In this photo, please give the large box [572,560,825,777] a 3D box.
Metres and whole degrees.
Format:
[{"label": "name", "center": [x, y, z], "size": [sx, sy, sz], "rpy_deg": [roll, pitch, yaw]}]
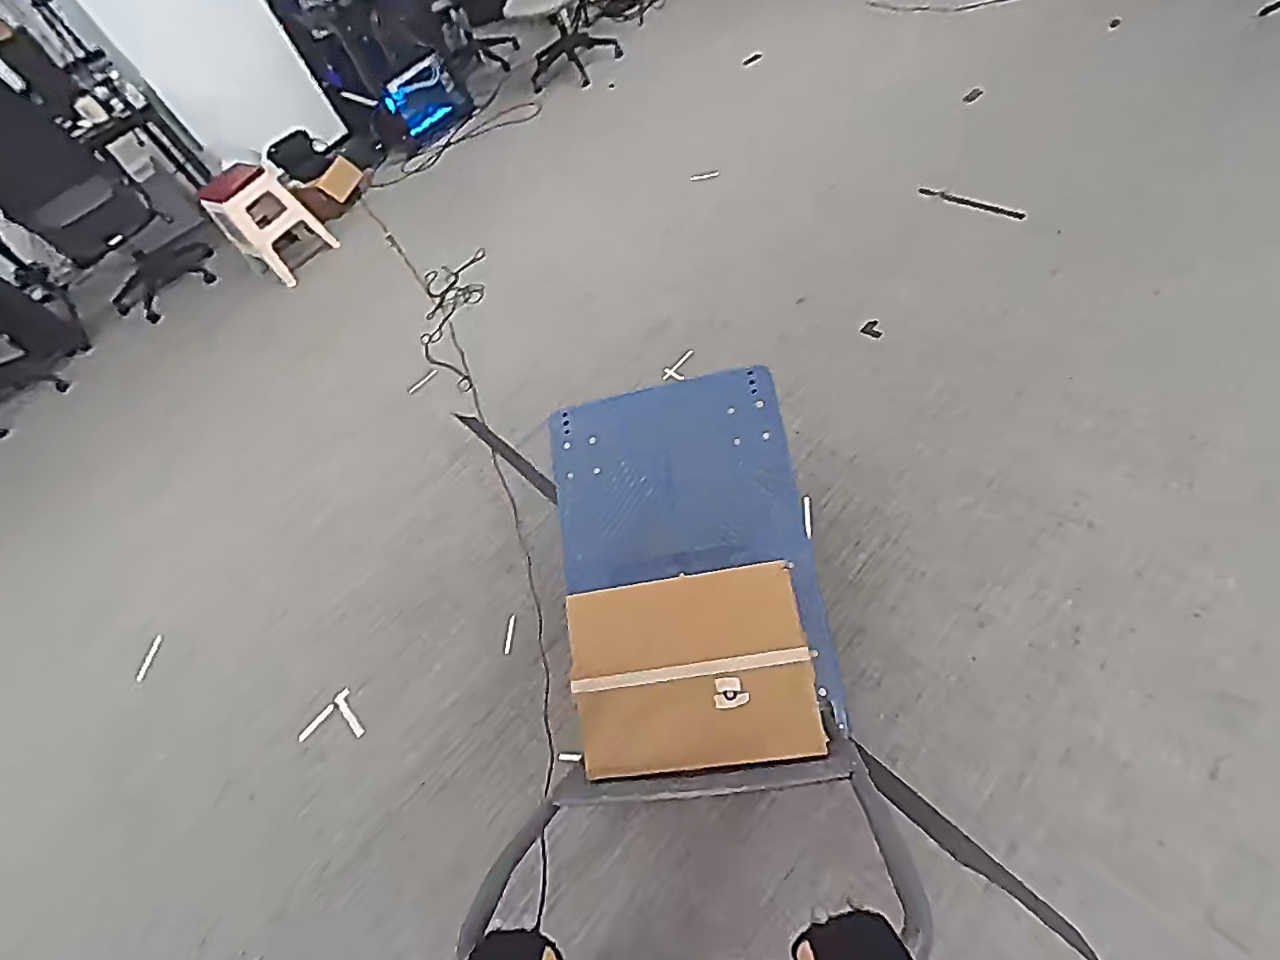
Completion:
[{"label": "large box", "center": [0.114, 0.360, 1.084], "size": [0.408, 0.320, 0.320], "rpy_deg": [-11, 76, 9]}]
